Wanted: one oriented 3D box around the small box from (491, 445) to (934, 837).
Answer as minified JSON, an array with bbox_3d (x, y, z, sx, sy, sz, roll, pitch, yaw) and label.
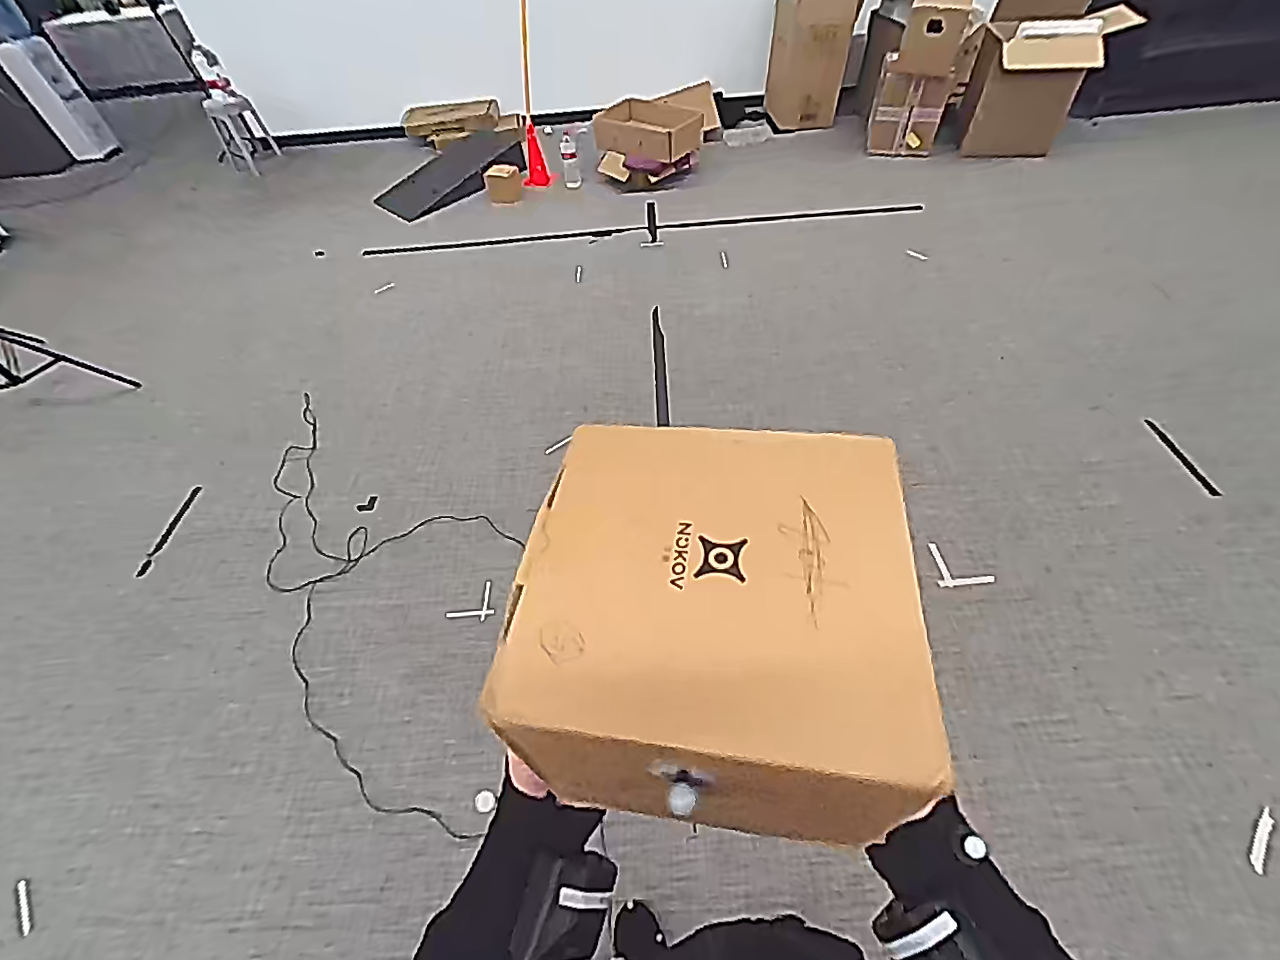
[{"bbox_3d":[0.041,0.096,0.319,0.179,0.176,0.168,1,50,9],"label":"small box"}]
